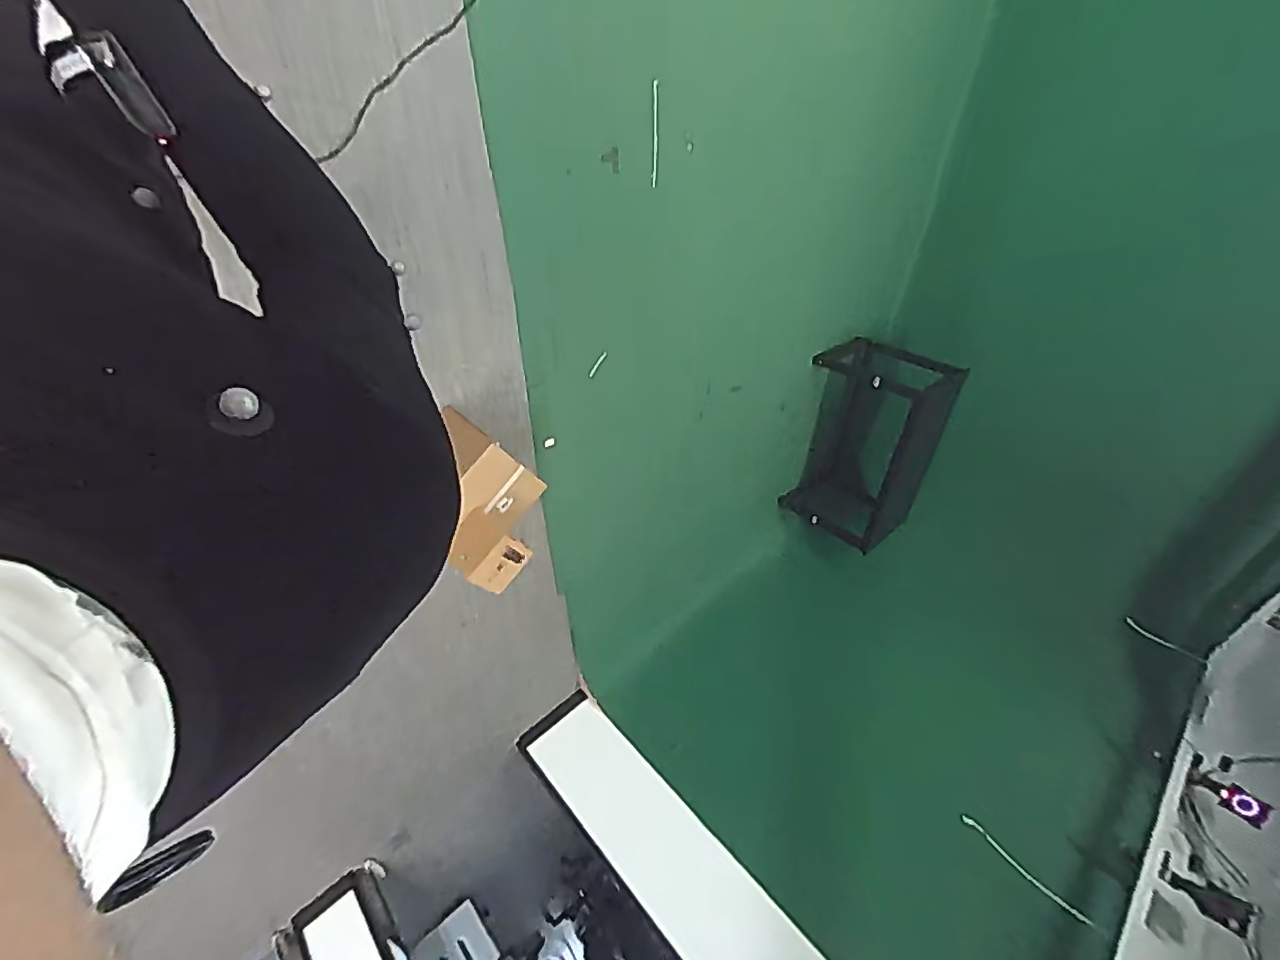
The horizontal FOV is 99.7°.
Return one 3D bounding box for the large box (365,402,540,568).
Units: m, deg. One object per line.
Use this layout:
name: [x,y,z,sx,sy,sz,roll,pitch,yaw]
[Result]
large box: [-0.629,0.018,1.825,0.408,0.320,0.320,-52,146,-7]
